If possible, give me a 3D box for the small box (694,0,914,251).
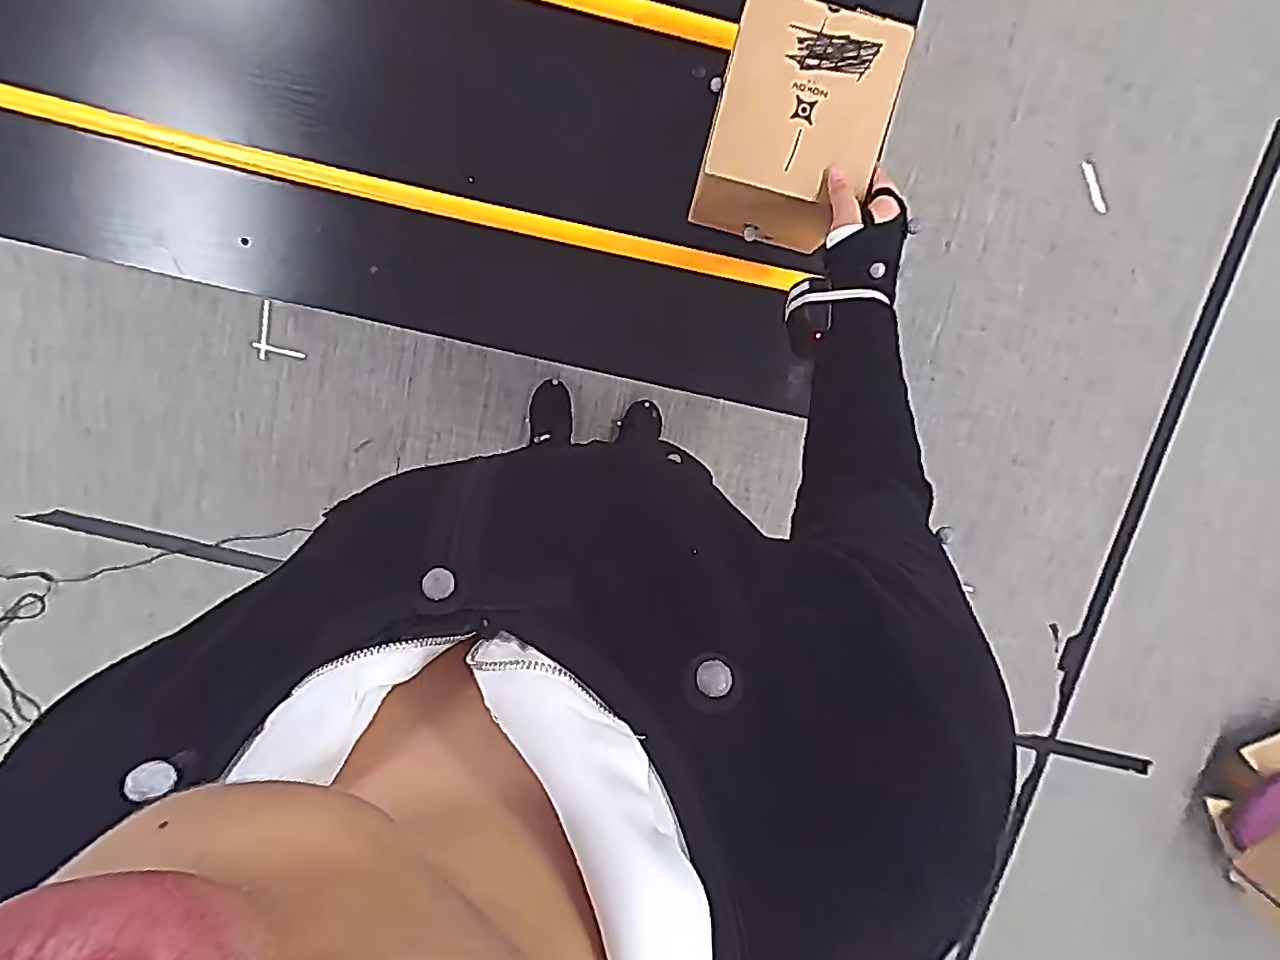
[{"bbox_3d":[0.164,-0.384,0.607,0.168,0.176,0.179,15,100,-2],"label":"small box"}]
